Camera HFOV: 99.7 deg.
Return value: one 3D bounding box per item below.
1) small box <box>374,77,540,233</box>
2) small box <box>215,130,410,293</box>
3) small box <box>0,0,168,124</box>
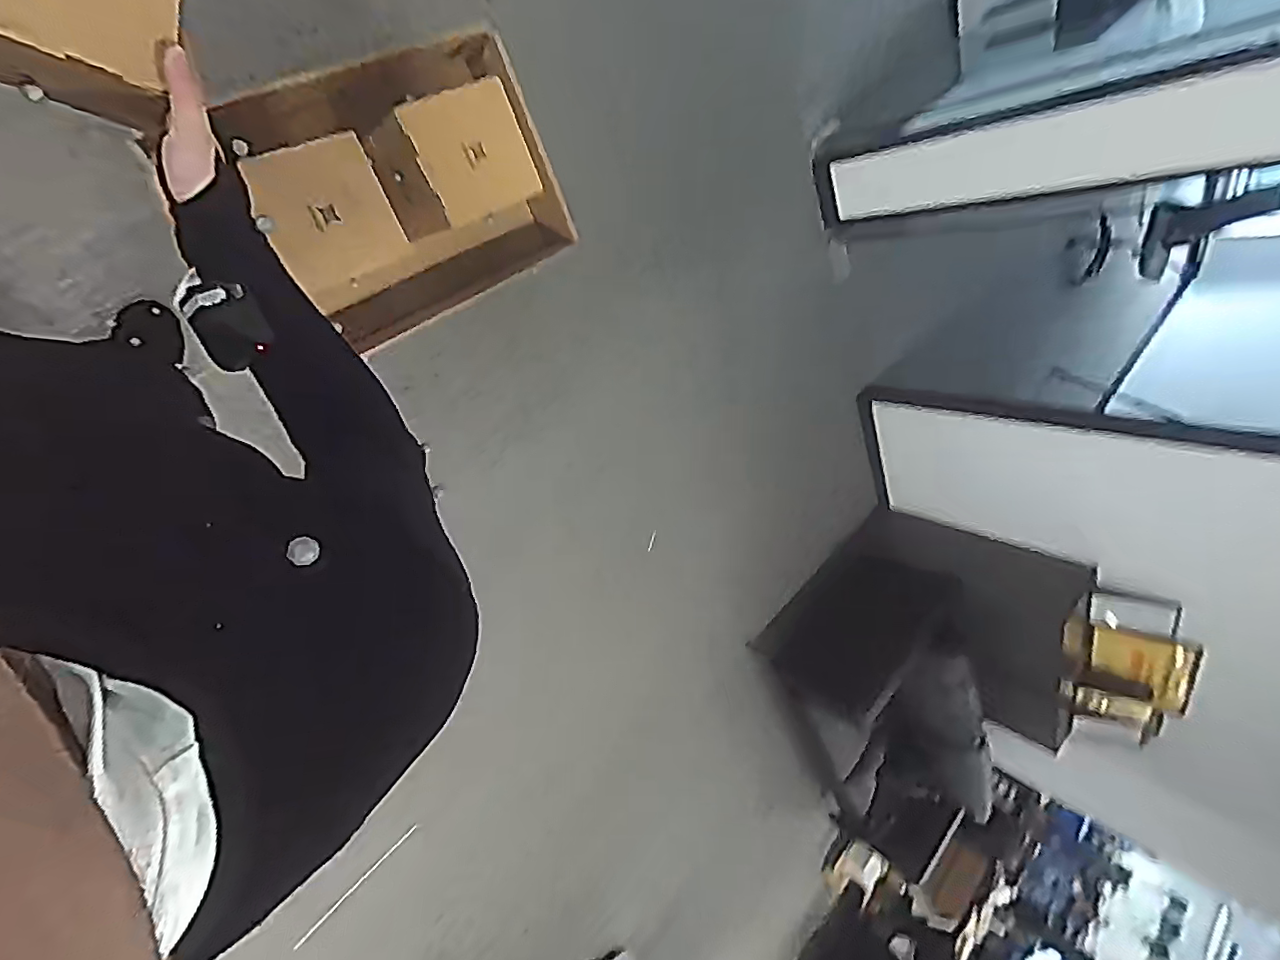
[{"bbox_3d":[-0.301,-0.523,0.886,0.179,0.176,0.168,-36,125,-22],"label":"small box"},{"bbox_3d":[-0.475,-0.380,0.788,0.179,0.176,0.168,-35,125,-26],"label":"small box"},{"bbox_3d":[-0.466,-0.409,0.404,0.168,0.176,0.179,2,103,-44],"label":"small box"}]
